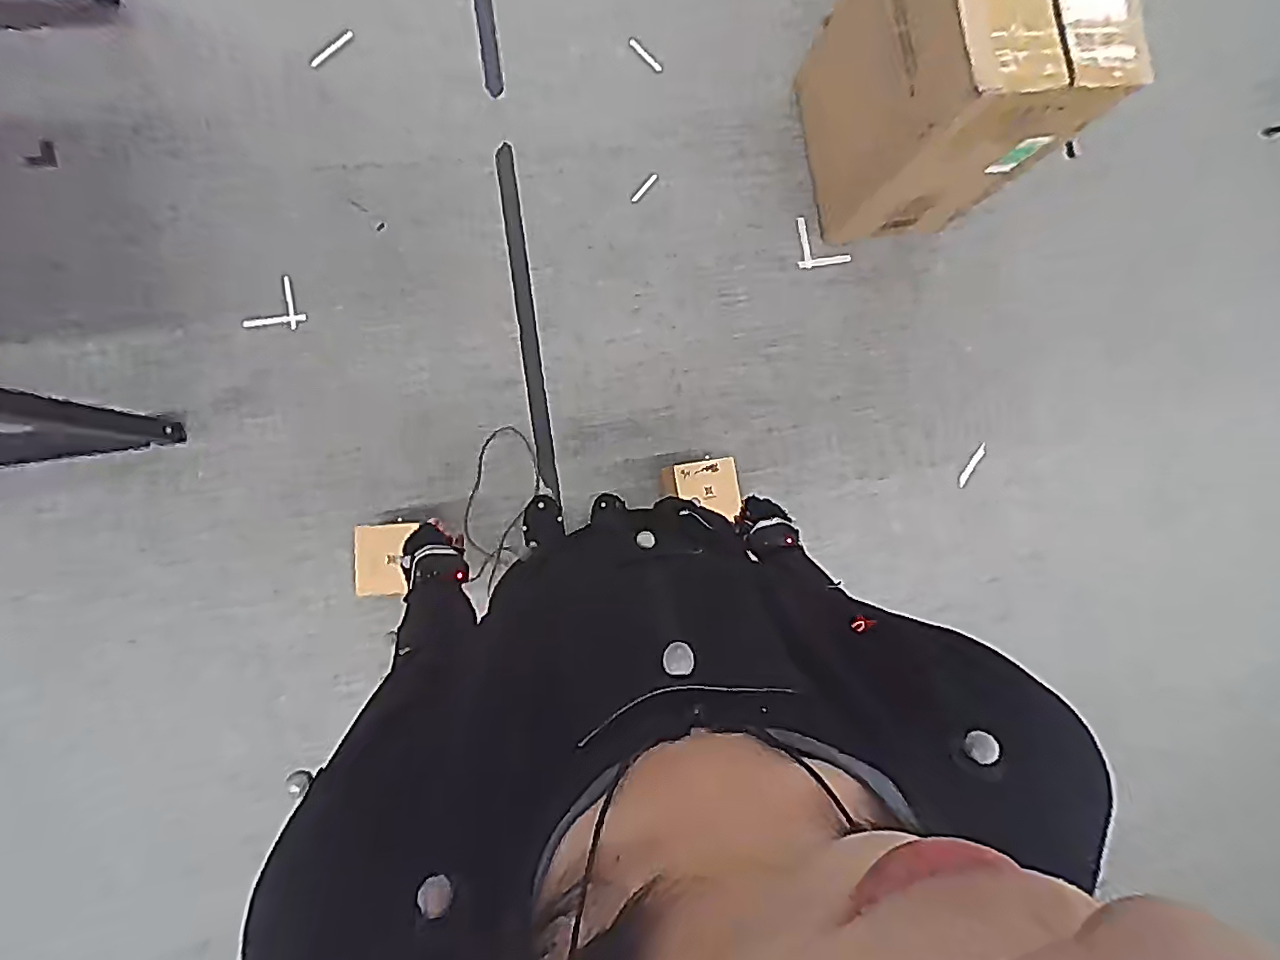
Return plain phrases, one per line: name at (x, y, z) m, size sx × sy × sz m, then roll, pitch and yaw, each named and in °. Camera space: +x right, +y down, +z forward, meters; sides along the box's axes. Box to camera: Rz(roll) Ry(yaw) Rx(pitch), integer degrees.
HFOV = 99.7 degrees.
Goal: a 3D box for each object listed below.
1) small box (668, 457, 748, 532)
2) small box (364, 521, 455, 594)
small box at (0.182, 0.037, 1.481) m, size 0.168 × 0.176 × 0.179 m, roll -9°, pitch 90°, yaw -9°
small box at (-0.574, 0.190, 1.369) m, size 0.179 × 0.176 × 0.168 m, roll -3°, pitch 86°, yaw -5°
